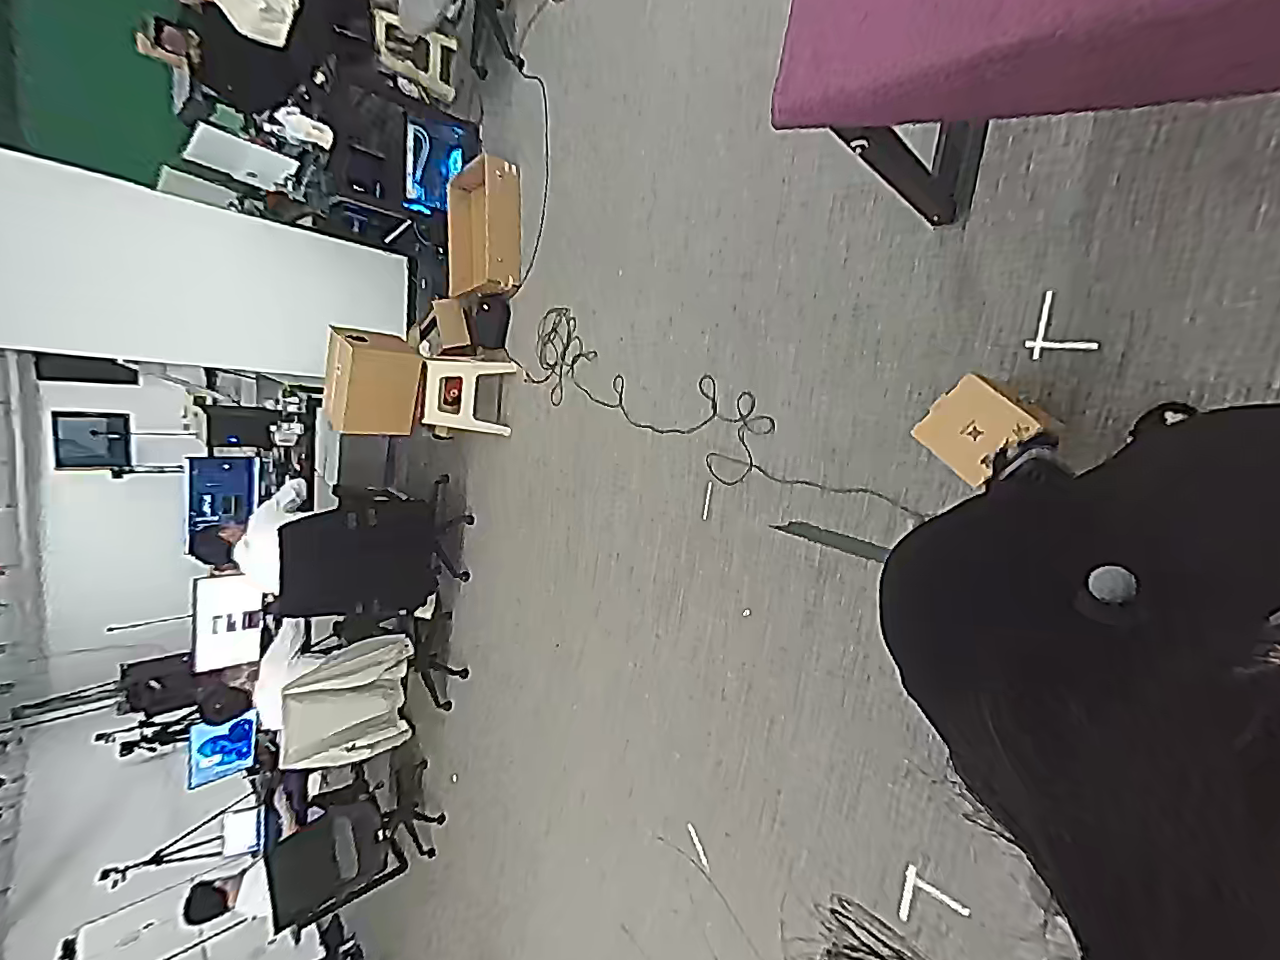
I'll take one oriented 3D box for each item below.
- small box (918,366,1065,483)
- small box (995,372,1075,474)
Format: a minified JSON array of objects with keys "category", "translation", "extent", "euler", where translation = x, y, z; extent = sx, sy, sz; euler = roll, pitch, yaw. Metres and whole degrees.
[{"category":"small box","translation":[0.724,-0.110,1.115],"extent":[0.179,0.176,0.168],"euler":[54,127,29]},{"category":"small box","translation":[0.838,-0.122,1.232],"extent":[0.179,0.176,0.168],"euler":[51,126,29]}]
